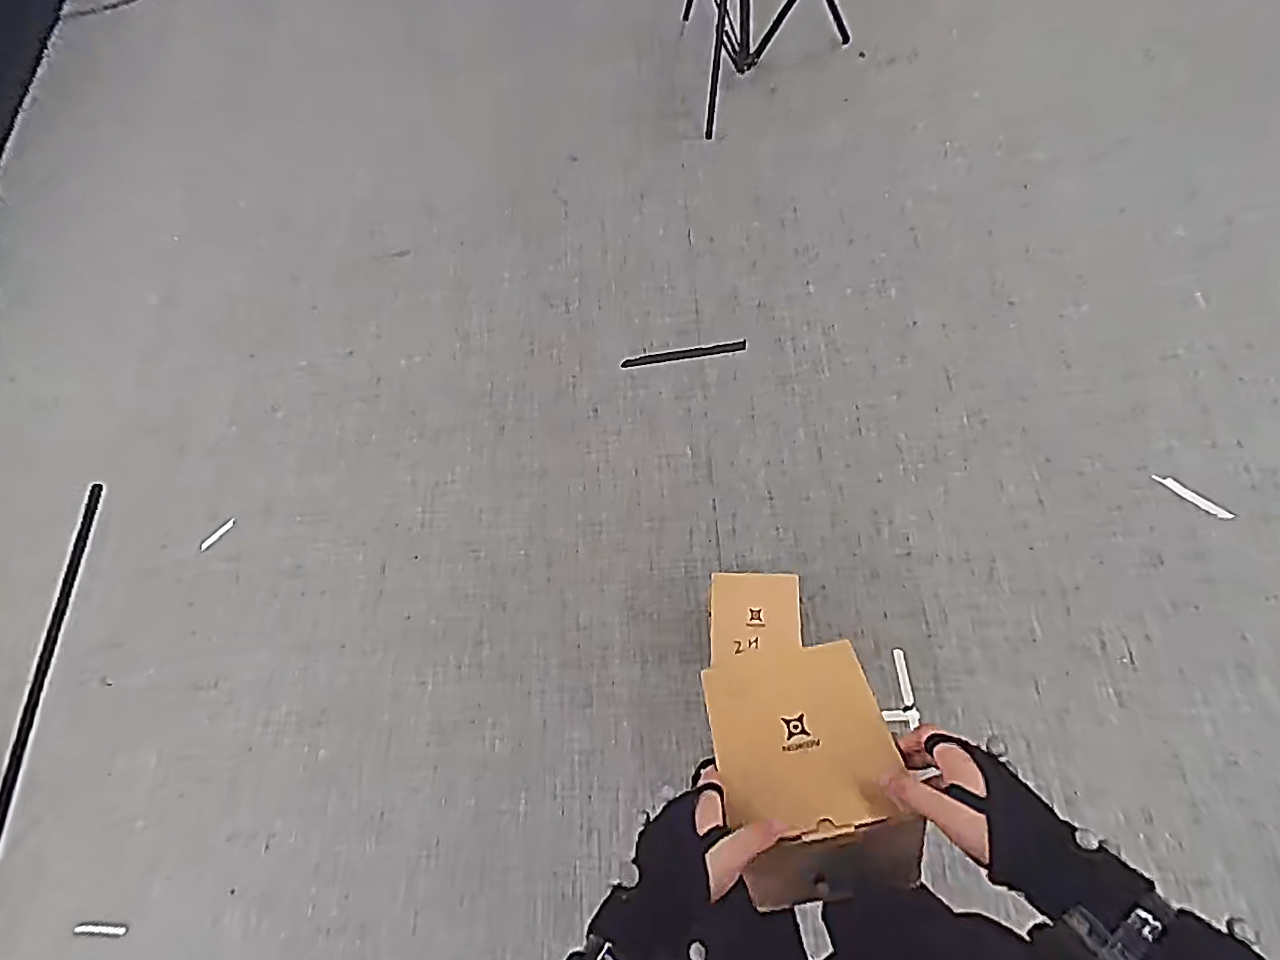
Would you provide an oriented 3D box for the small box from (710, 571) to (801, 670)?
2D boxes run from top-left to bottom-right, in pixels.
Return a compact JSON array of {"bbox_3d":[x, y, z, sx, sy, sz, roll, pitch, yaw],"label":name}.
[{"bbox_3d":[0.228,0.283,1.081,0.168,0.176,0.179,-1,72,11],"label":"small box"}]
